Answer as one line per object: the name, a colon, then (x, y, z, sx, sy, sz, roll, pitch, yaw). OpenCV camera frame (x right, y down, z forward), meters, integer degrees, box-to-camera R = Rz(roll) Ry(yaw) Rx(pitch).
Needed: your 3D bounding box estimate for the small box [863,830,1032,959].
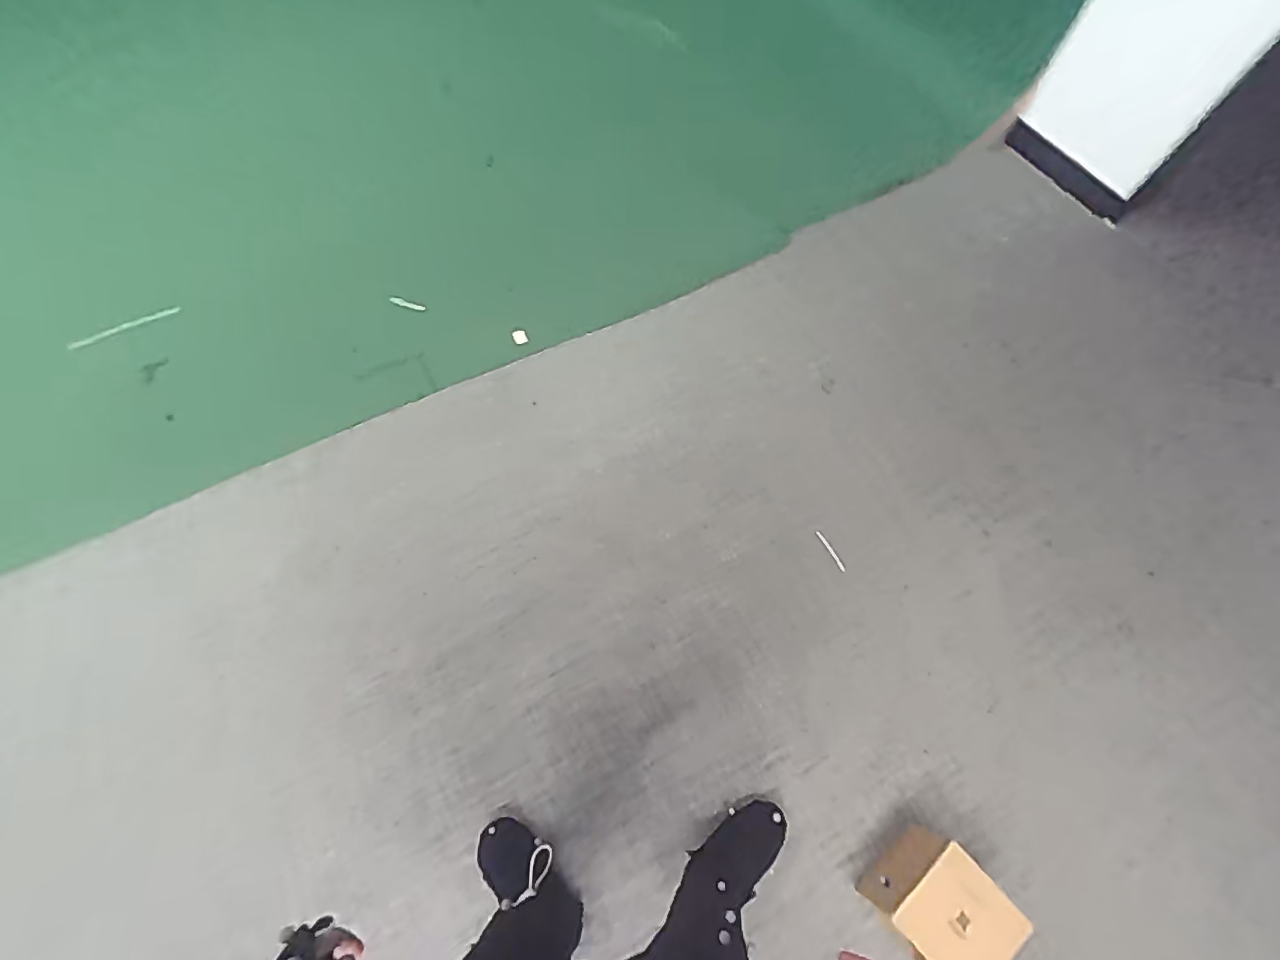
small box: (0.526, 0.766, 0.958, 0.179, 0.176, 0.168, -38, 72, -16)
